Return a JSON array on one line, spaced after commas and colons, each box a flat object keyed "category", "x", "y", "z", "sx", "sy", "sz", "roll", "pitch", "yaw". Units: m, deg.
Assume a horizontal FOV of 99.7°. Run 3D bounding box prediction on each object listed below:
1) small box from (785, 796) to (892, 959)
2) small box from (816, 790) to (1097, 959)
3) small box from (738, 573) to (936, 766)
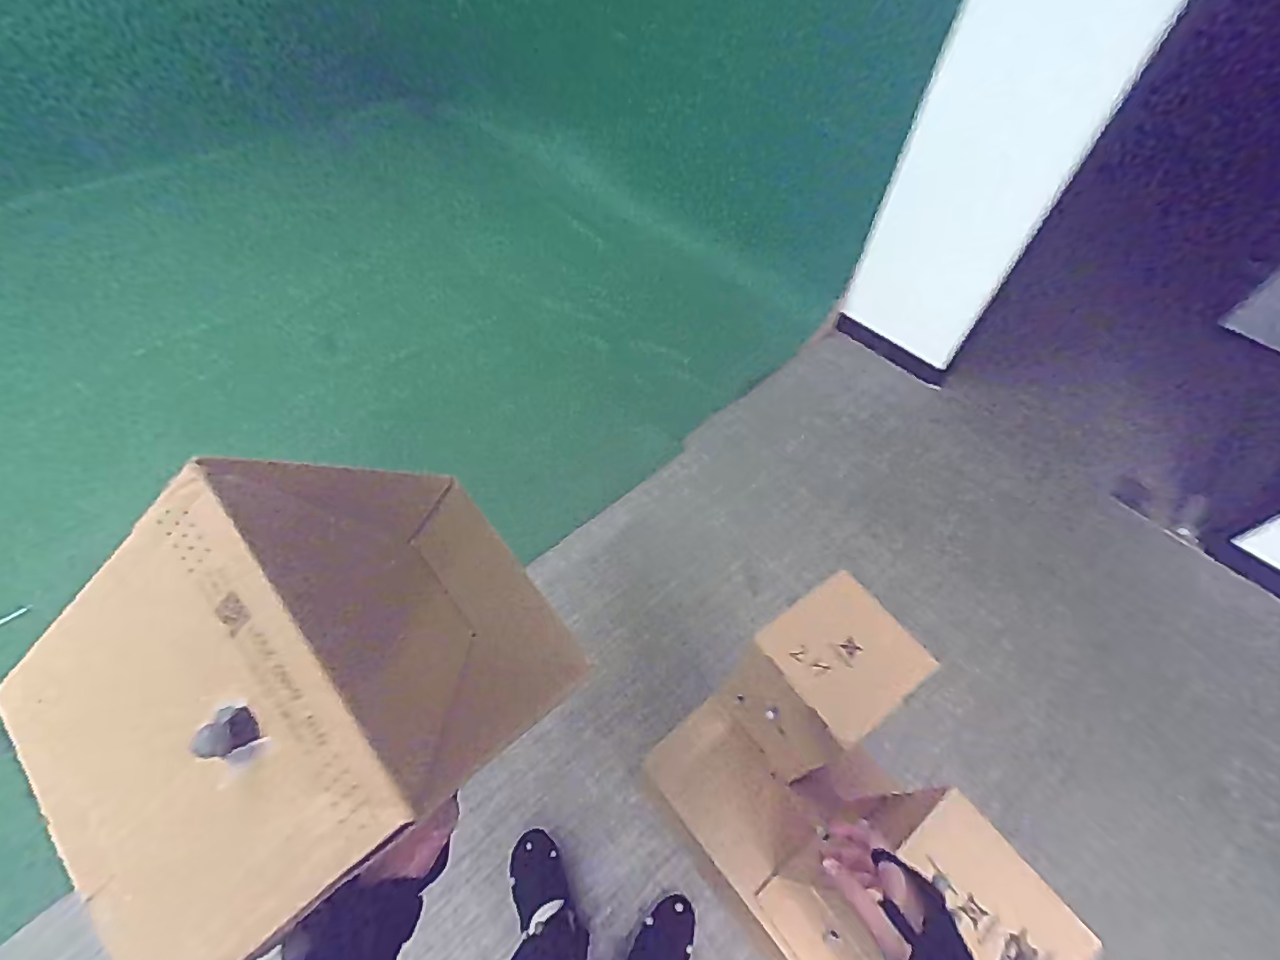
[{"category": "small box", "x": 0.325, "y": 0.574, "z": 0.741, "sx": 0.168, "sy": 0.176, "sz": 0.179, "roll": -33, "pitch": 62, "yaw": -19}, {"category": "small box", "x": 0.332, "y": 0.483, "z": 0.604, "sx": 0.168, "sy": 0.176, "sz": 0.179, "roll": -31, "pitch": 62, "yaw": -21}, {"category": "small box", "x": 0.260, "y": 0.267, "z": 0.757, "sx": 0.179, "sy": 0.176, "sz": 0.168, "roll": -29, "pitch": 60, "yaw": -20}]
